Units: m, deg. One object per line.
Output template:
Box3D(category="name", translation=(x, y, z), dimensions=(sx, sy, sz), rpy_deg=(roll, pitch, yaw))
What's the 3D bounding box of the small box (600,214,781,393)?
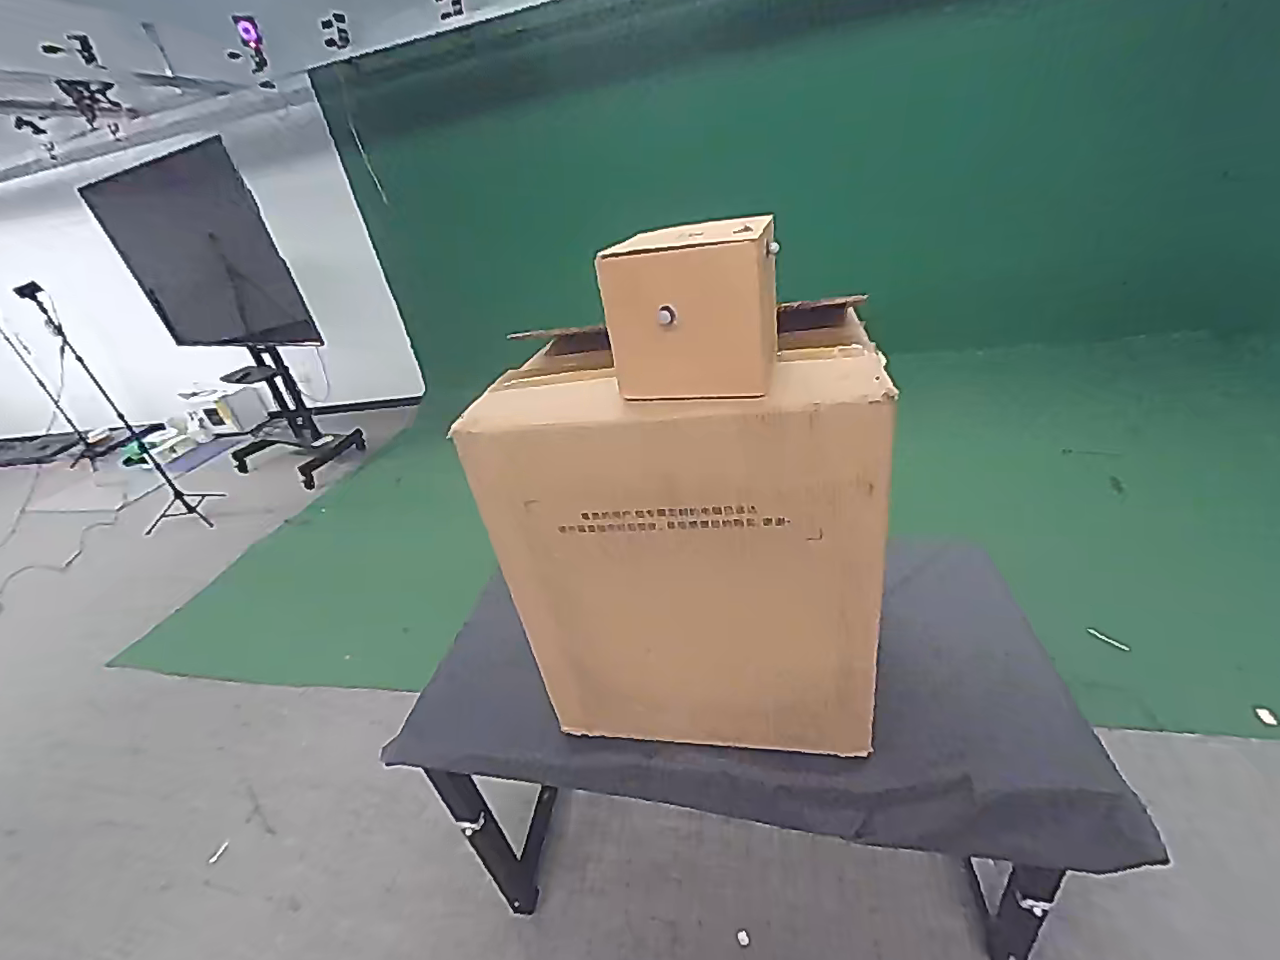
Box3D(category="small box", translation=(0.073, -0.211, 0.660), dimensions=(0.179, 0.176, 0.168), rpy_deg=(1, 33, 20))
